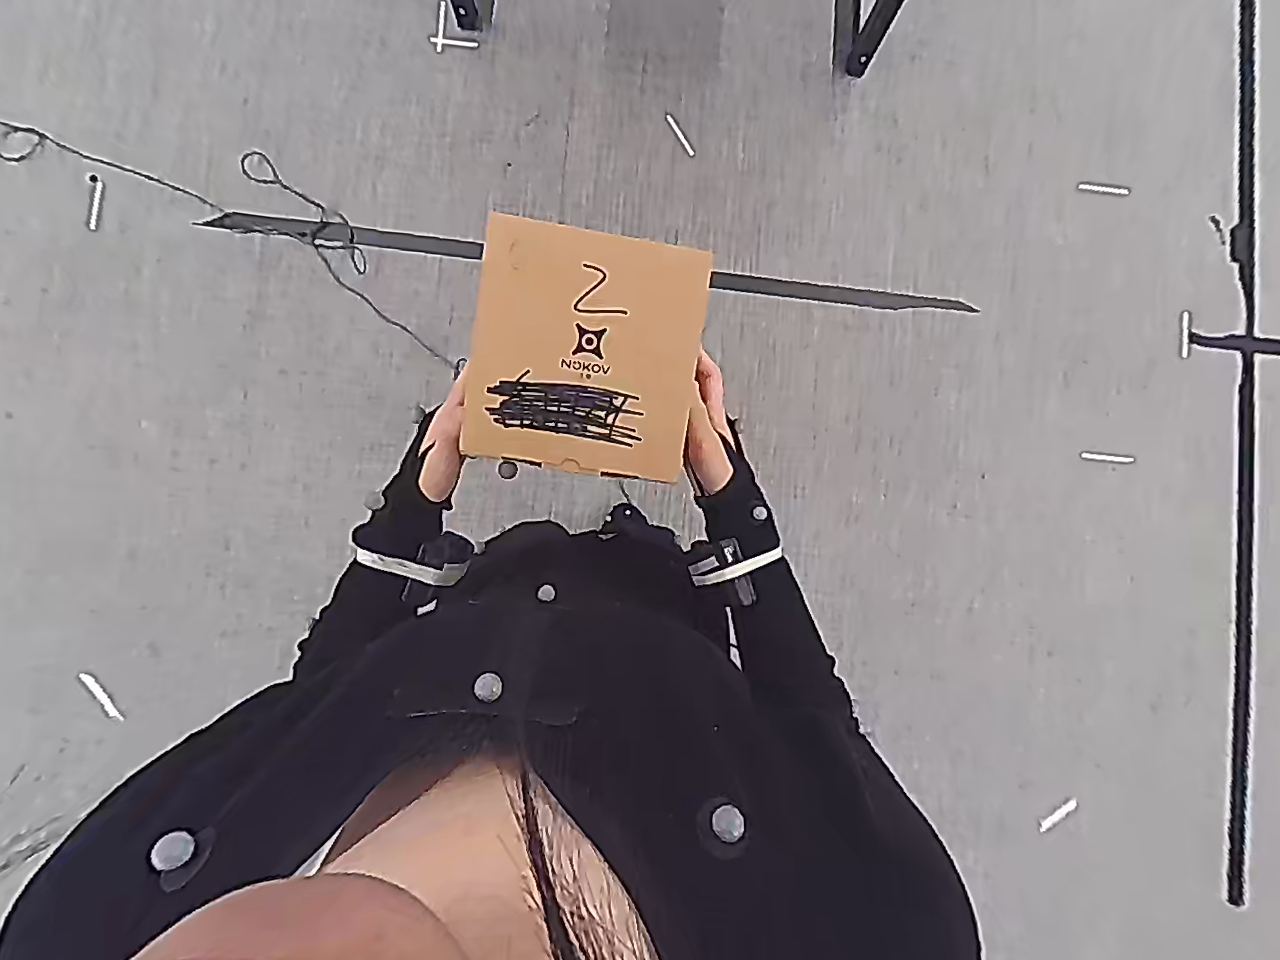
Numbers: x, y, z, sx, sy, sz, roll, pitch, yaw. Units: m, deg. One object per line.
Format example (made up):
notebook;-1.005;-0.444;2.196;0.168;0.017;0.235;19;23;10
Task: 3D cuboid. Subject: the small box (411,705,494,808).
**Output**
small box;-0.471;0.687;1.357;0.168;0.176;0.179;5;86;-3

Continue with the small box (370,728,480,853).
small box;-0.465;0.677;1.194;0.168;0.176;0.179;8;85;-2

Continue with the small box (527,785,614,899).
small box;-0.169;0.897;1.356;0.179;0.176;0.168;13;86;-3
